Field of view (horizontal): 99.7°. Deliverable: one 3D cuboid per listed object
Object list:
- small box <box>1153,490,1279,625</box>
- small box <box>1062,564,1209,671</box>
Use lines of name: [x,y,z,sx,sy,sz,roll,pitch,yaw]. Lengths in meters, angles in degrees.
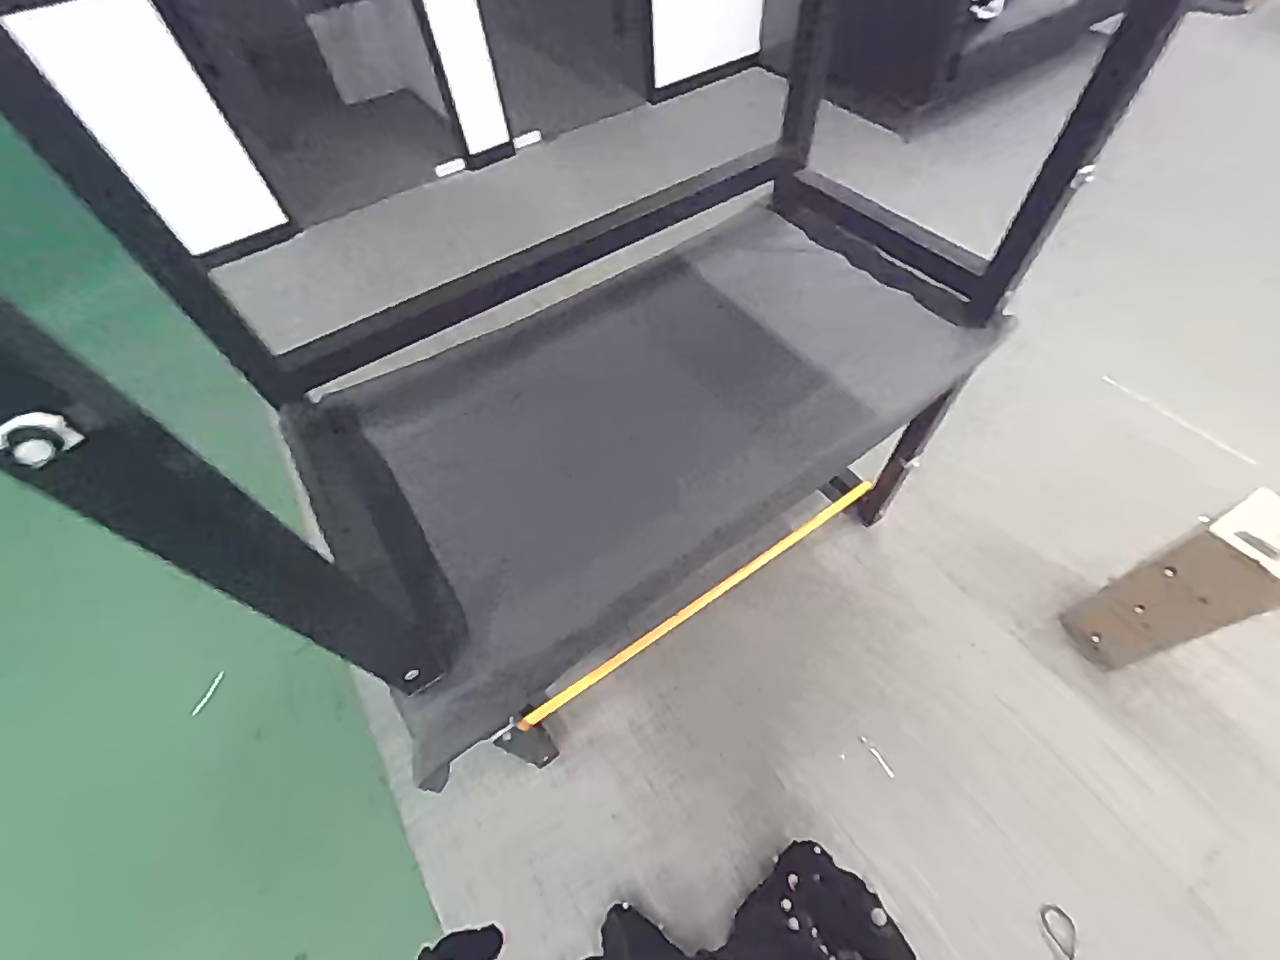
small box: [1.184,0.157,1.066,0.179,0.176,0.168,-28,59,-14]
small box: [1.206,0.342,1.335,0.179,0.176,0.168,-26,57,-13]
